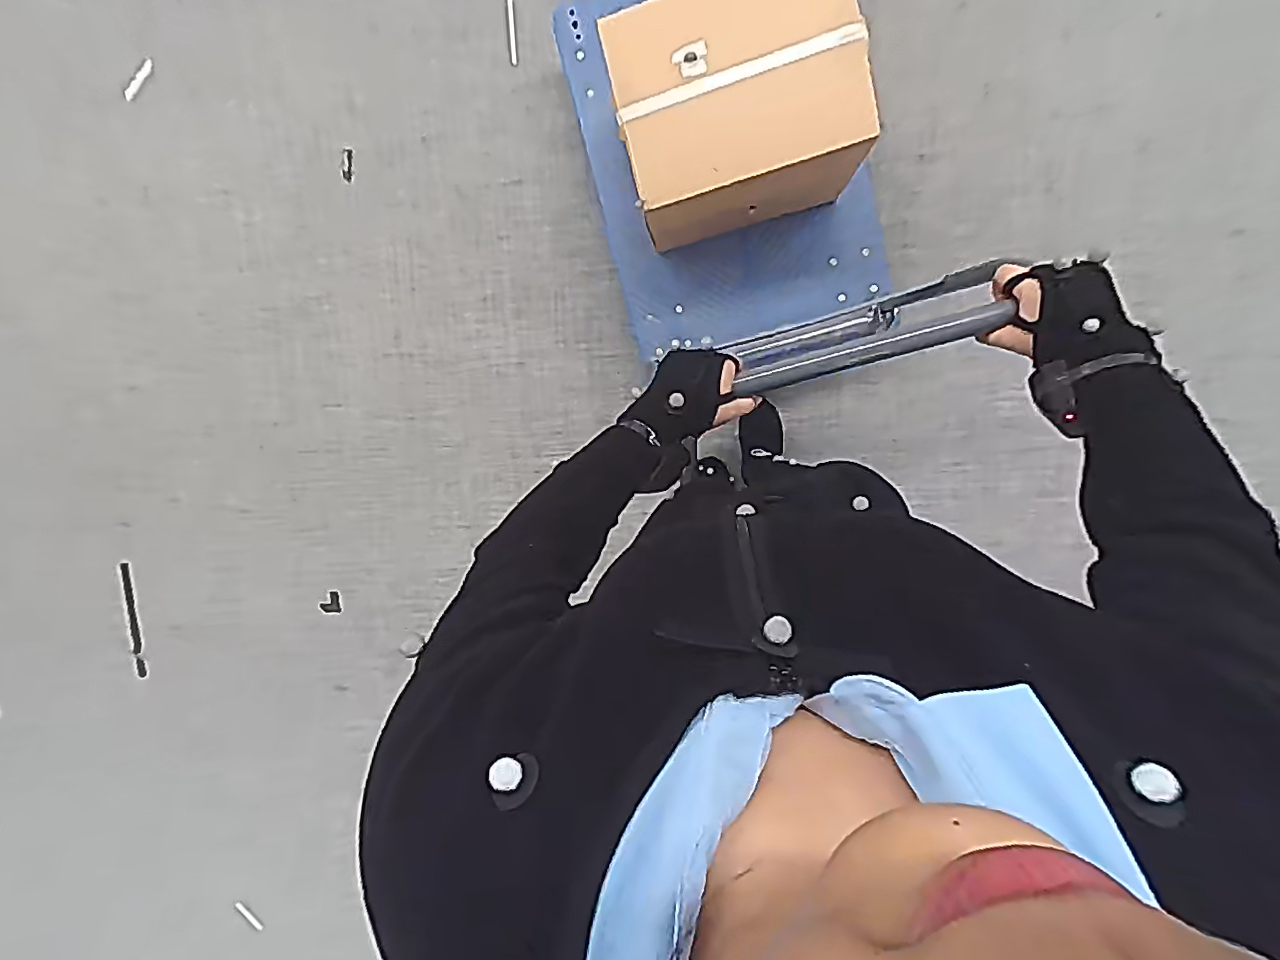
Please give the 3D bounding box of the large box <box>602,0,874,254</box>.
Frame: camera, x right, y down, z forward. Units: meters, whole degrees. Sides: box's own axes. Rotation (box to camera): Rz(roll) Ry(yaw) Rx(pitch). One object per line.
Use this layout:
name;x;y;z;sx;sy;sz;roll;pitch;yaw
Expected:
large box;0.182;-0.688;1.057;0.408;0.320;0.320;-14;97;10
